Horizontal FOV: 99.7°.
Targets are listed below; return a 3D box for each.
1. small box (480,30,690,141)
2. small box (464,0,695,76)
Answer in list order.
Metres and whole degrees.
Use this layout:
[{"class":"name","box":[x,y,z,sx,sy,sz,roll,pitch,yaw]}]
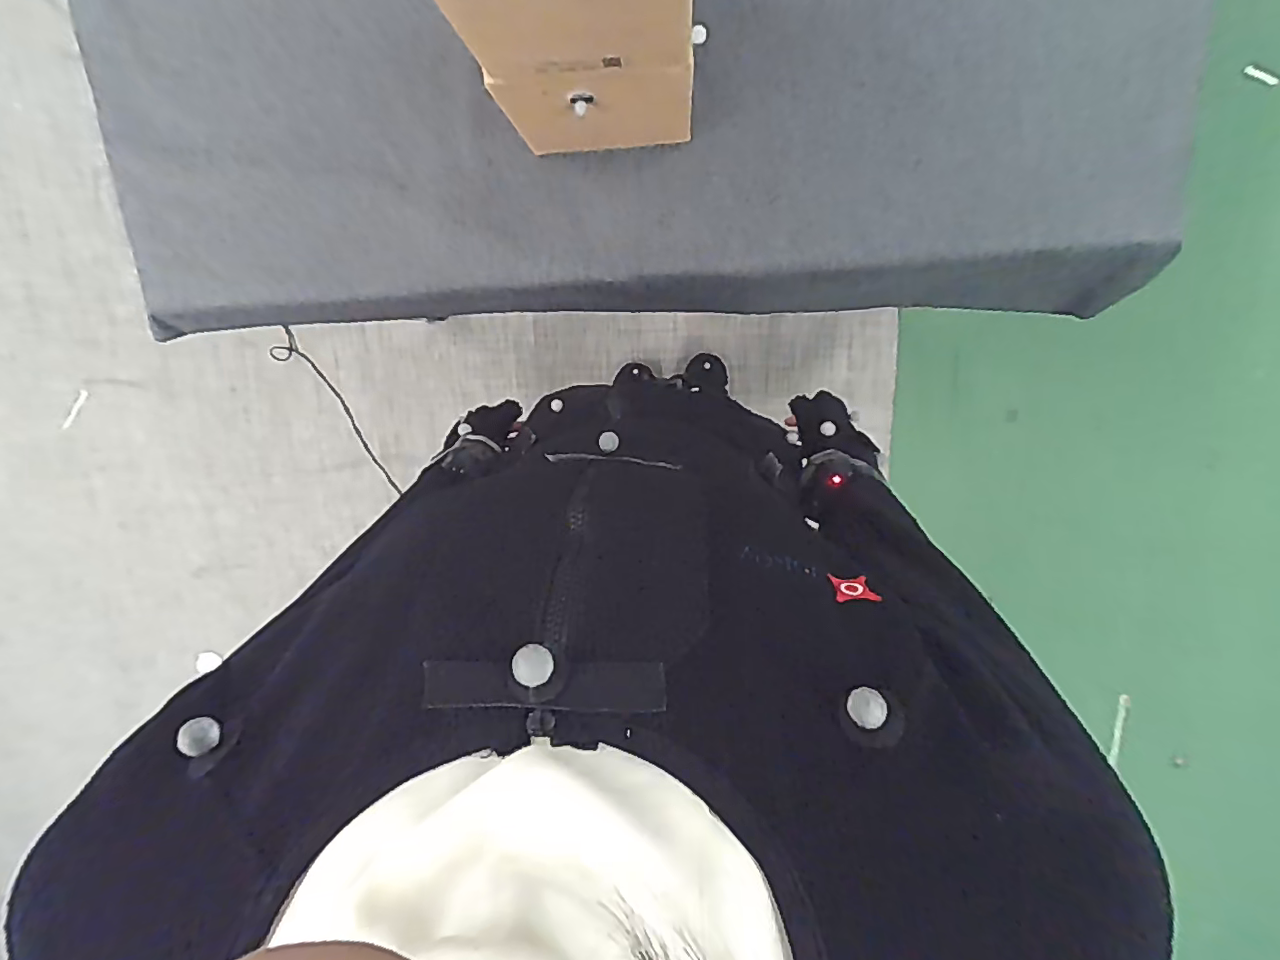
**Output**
[{"class":"small box","box":[-0.042,-0.441,0.507,0.179,0.176,0.168,-2,103,4]},{"class":"small box","box":[-0.049,-0.407,0.350,0.168,0.176,0.179,-3,104,4]}]
